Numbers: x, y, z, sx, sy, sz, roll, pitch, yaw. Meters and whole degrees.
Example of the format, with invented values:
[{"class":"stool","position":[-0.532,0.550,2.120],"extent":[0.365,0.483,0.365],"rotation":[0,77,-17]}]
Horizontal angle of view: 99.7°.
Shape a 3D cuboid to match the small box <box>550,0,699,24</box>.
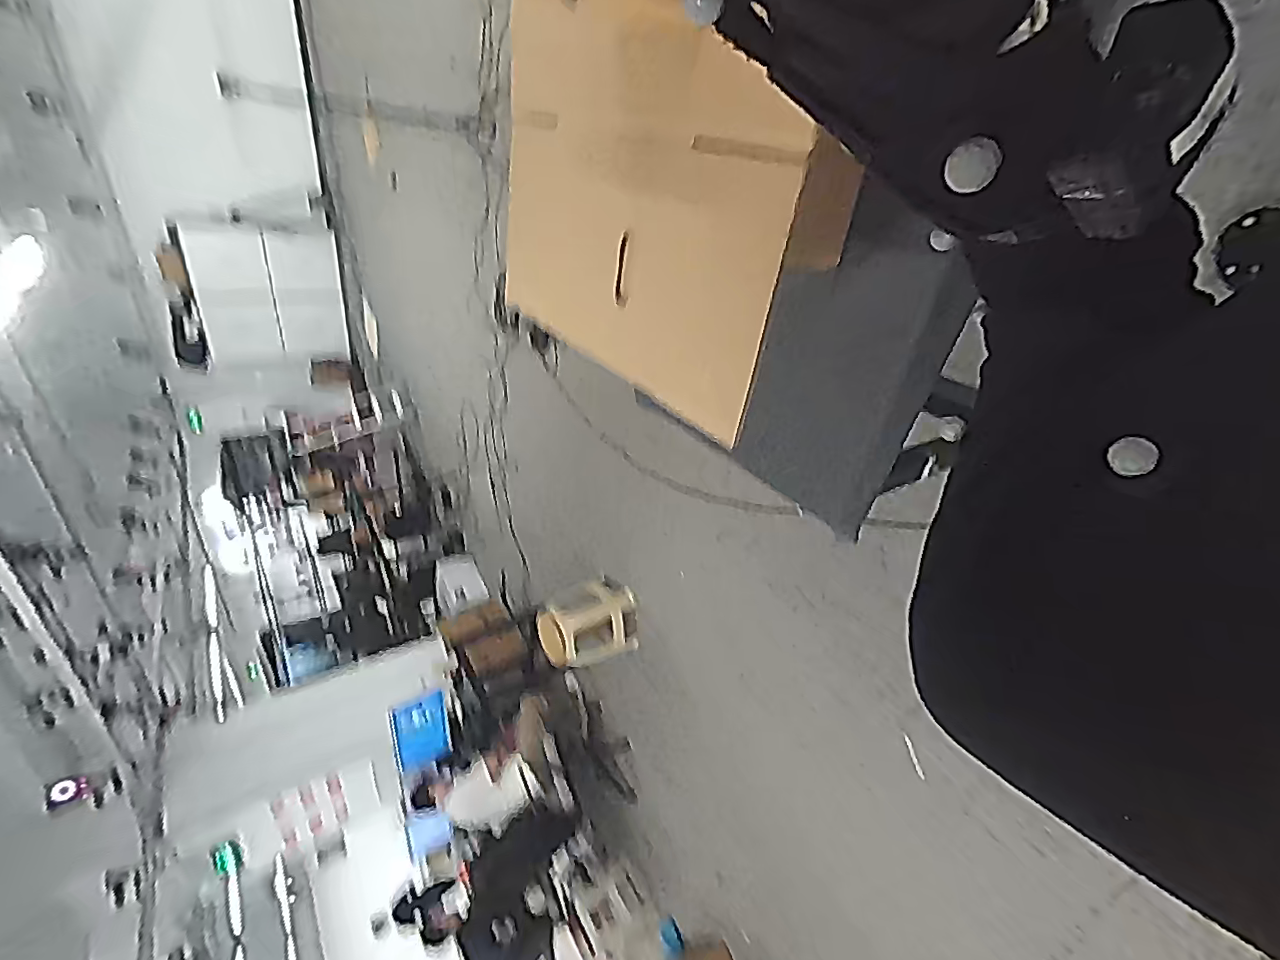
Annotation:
[{"class":"small box","position":[-0.038,-0.545,0.492],"extent":[0.179,0.176,0.168],"rotation":[41,132,41]}]
